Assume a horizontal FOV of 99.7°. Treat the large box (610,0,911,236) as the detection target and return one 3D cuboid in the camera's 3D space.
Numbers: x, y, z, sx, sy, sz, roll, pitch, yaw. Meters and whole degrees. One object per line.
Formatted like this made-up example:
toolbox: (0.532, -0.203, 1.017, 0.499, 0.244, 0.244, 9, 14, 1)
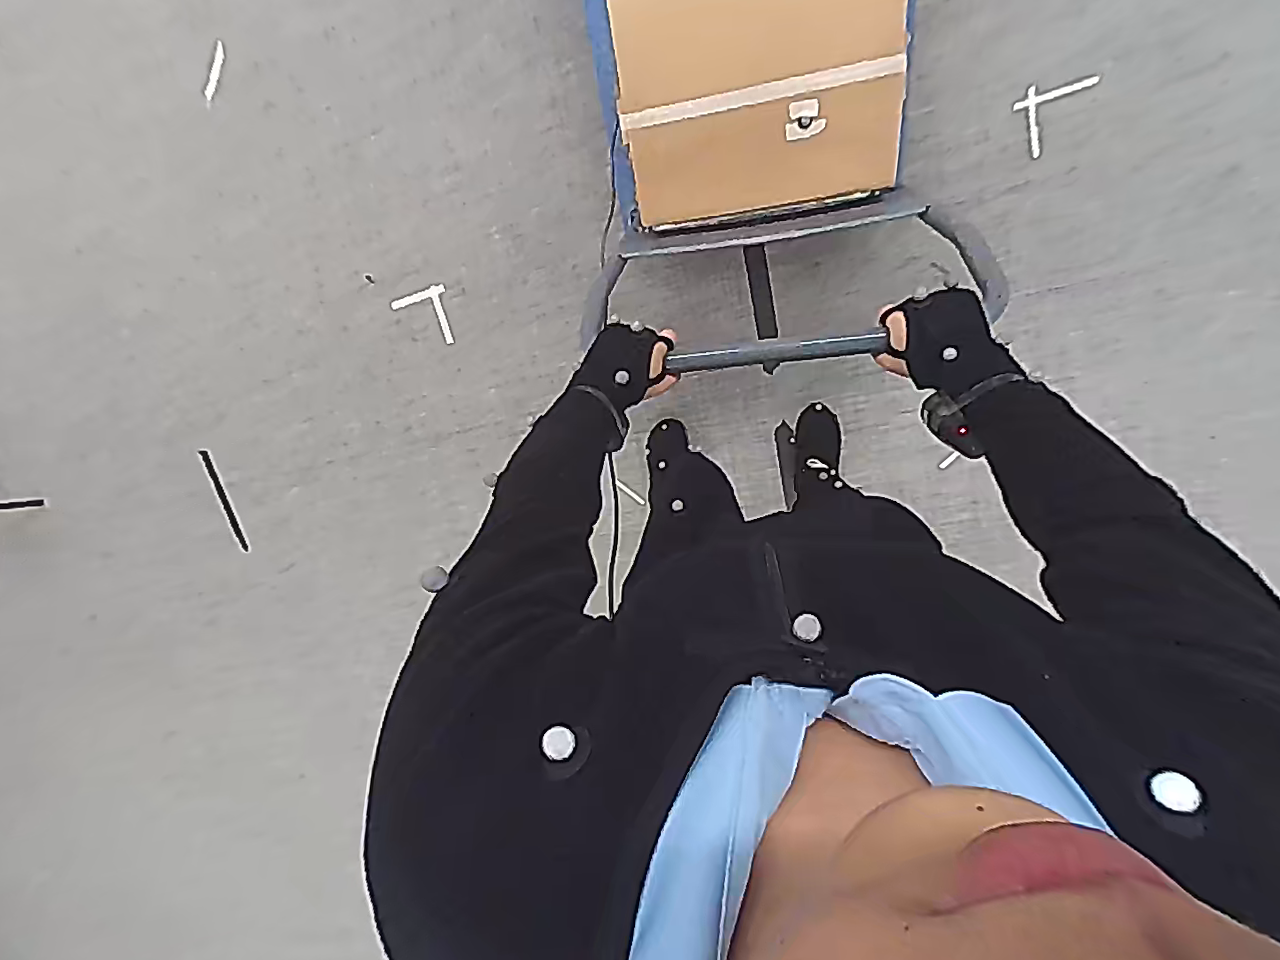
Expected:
large box: (0.194, -0.634, 0.913, 0.408, 0.320, 0.320, -4, 123, 12)
